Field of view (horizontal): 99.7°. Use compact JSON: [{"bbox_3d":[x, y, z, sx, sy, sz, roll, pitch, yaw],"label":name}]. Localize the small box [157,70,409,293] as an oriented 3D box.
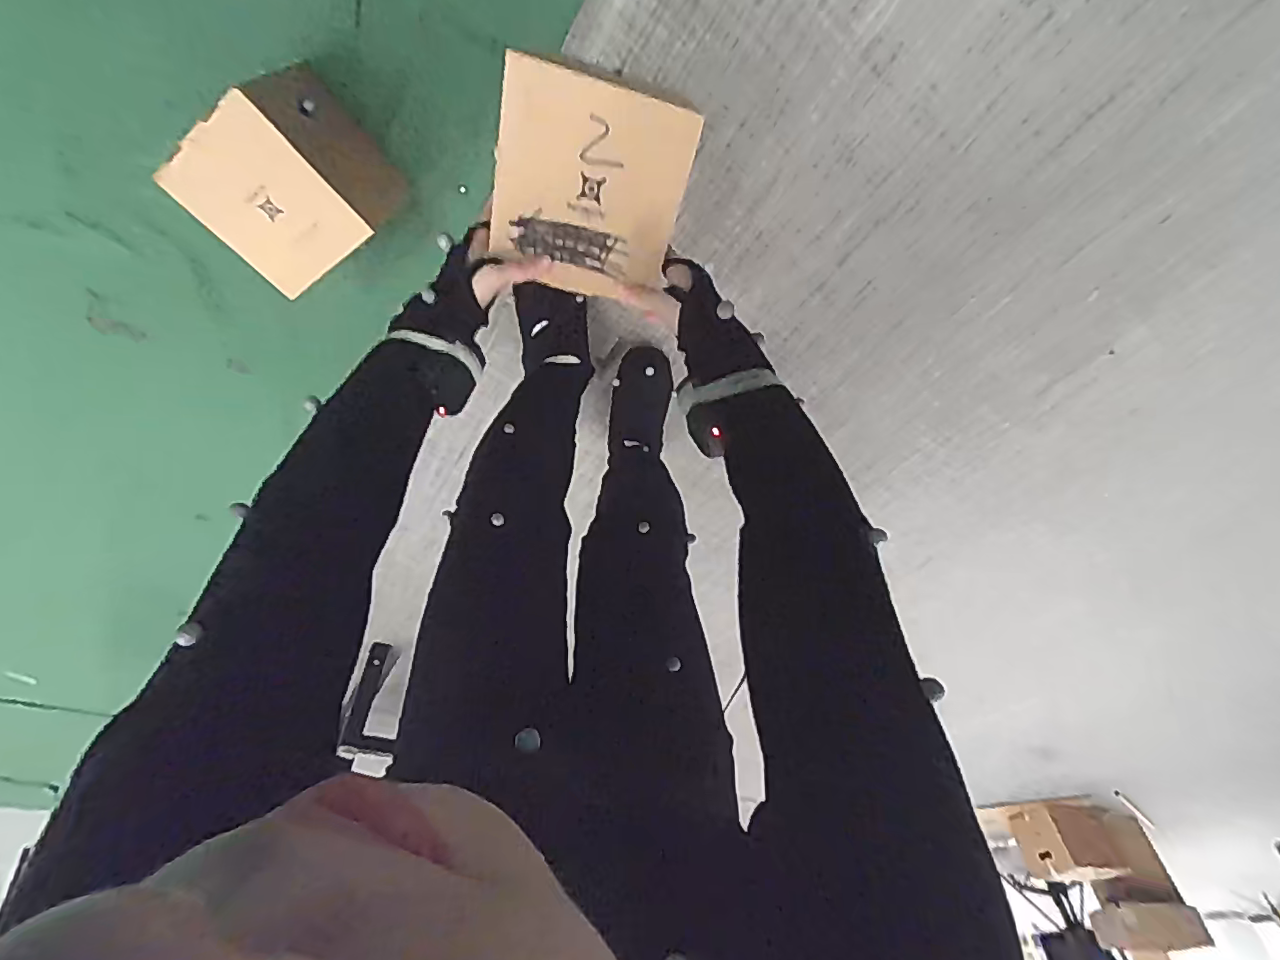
[{"bbox_3d":[-0.433,-0.382,0.688,0.168,0.176,0.179,-24,131,21],"label":"small box"}]
